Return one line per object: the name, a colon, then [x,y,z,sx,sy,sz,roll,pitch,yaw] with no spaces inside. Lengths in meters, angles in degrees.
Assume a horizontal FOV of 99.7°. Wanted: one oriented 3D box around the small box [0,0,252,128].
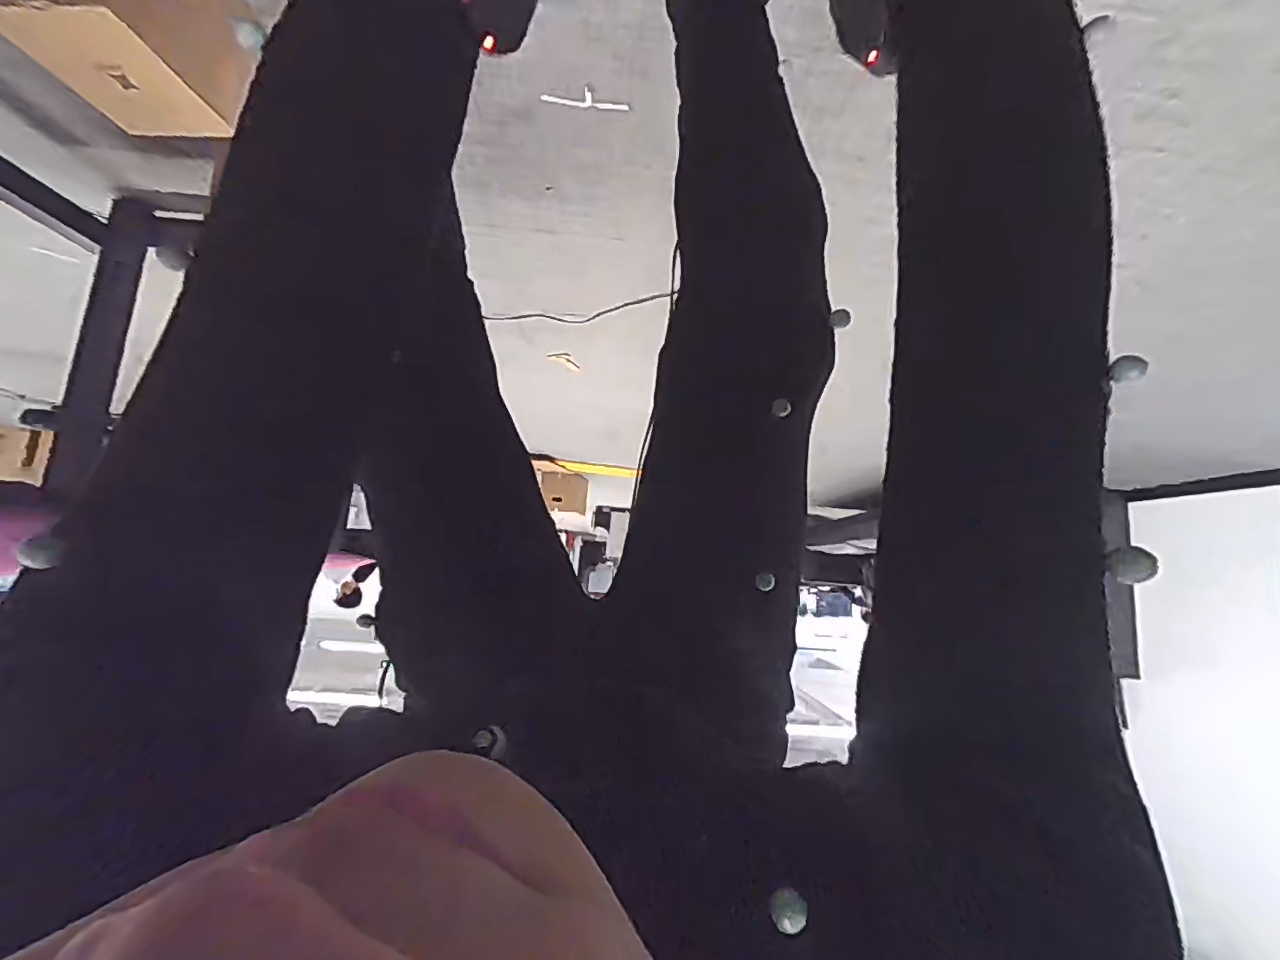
small box: [-0.601,-0.551,0.627,0.168,0.176,0.179,5,172,5]
